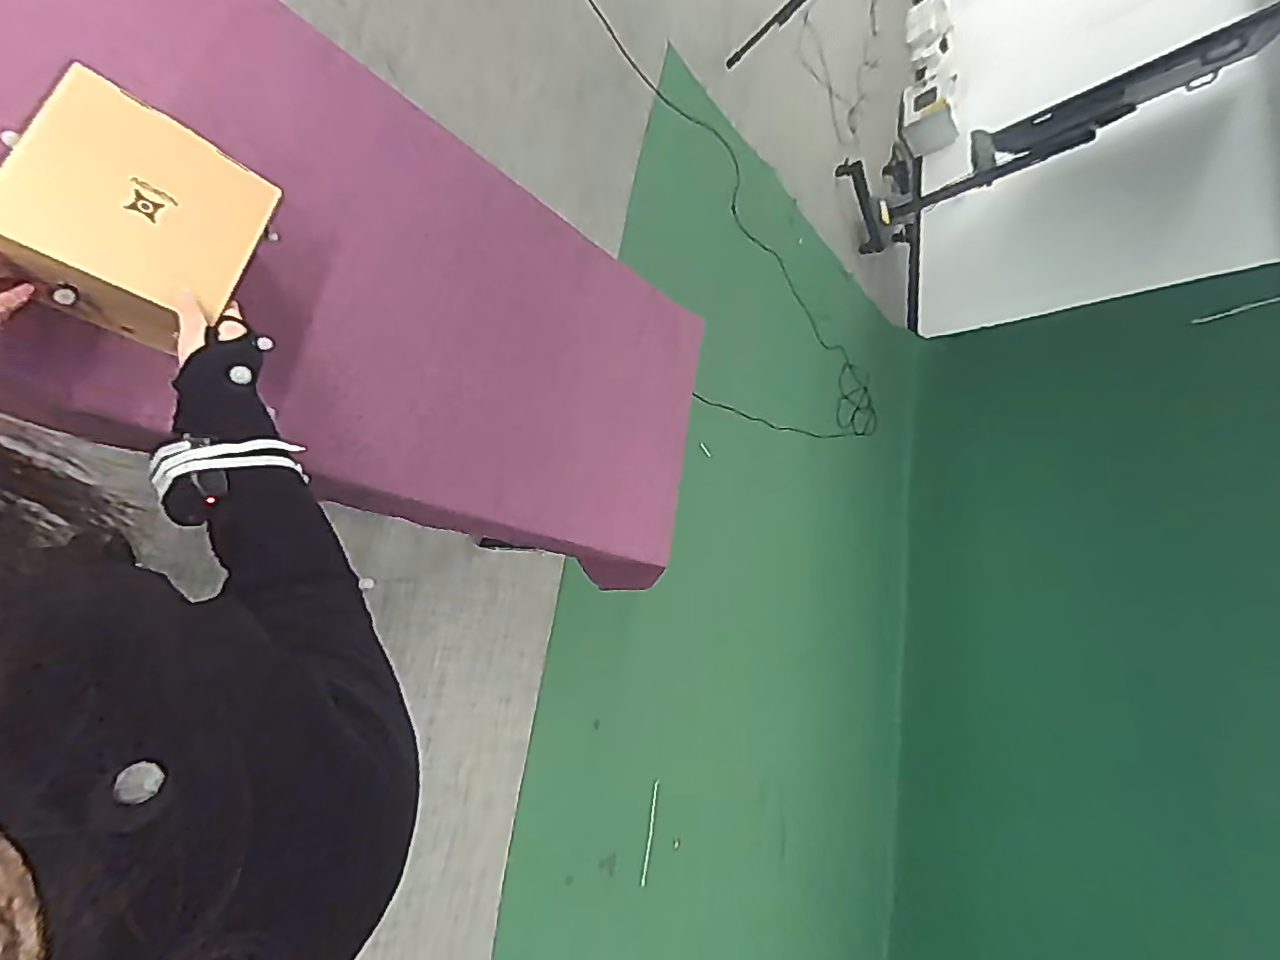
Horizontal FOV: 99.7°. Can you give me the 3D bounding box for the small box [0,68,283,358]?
[{"bbox_3d":[-0.506,-0.249,0.556,0.168,0.176,0.179,26,68,-40],"label":"small box"}]
